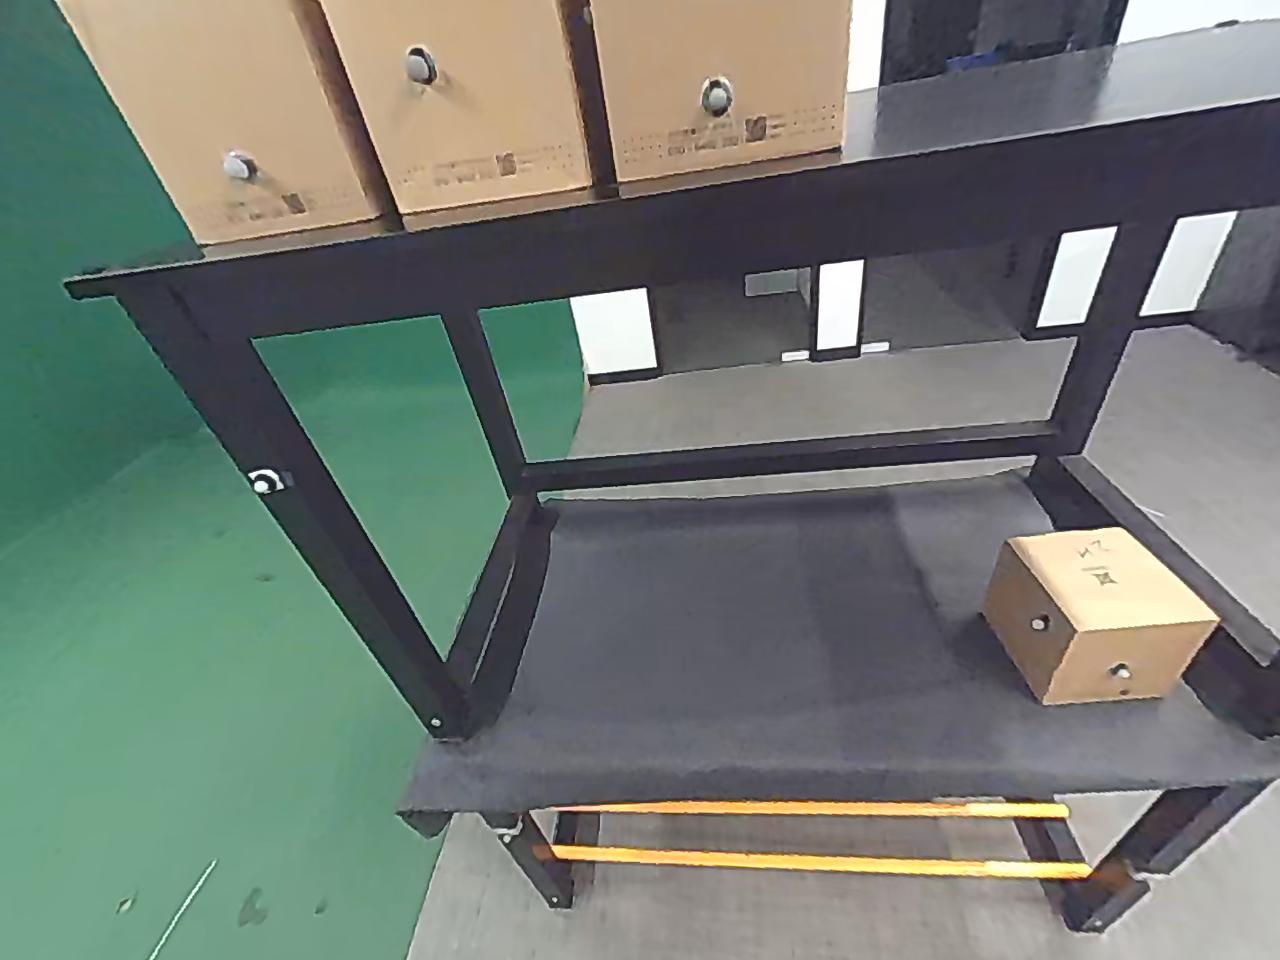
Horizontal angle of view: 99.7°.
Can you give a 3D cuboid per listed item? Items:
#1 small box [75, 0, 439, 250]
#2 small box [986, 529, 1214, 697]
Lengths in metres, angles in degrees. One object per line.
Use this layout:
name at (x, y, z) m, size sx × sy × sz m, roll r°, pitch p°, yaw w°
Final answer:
small box at (-0.303, -0.318, 0.482) m, size 0.168 × 0.176 × 0.179 m, roll -5°, pitch 37°, yaw 7°
small box at (0.641, 0.197, 0.784) m, size 0.168 × 0.176 × 0.179 m, roll -7°, pitch 35°, yaw 5°
